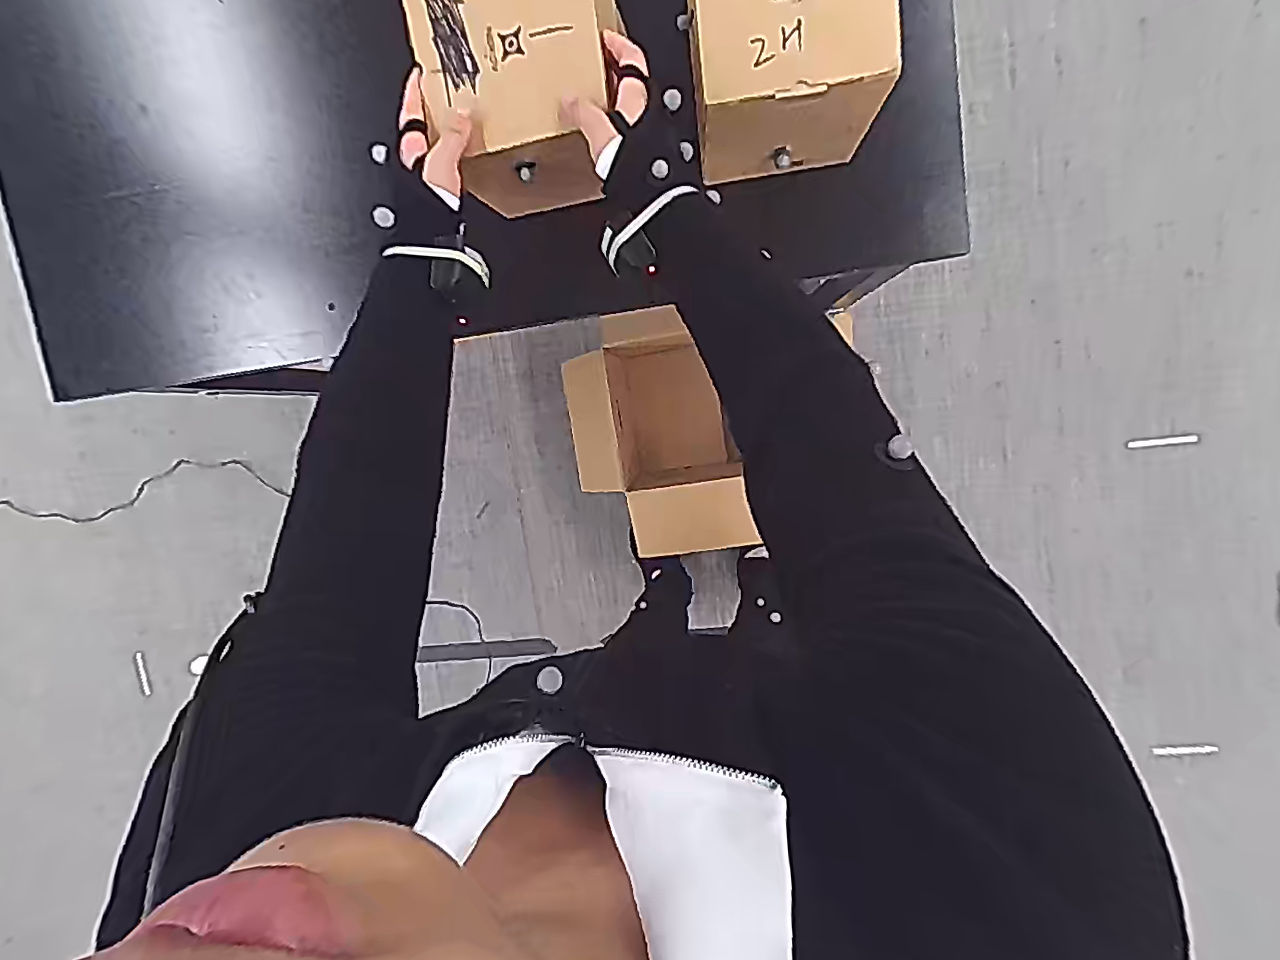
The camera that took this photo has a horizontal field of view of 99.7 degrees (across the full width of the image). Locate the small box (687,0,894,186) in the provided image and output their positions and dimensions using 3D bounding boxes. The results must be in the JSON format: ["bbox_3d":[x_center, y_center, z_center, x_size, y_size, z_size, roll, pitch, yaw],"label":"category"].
[{"bbox_3d":[0.133,-0.422,0.531,0.168,0.176,0.179,-5,97,8],"label":"small box"}]

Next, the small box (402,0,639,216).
[{"bbox_3d":[-0.108,-0.390,0.551,0.179,0.176,0.168,-5,98,11],"label":"small box"}]
